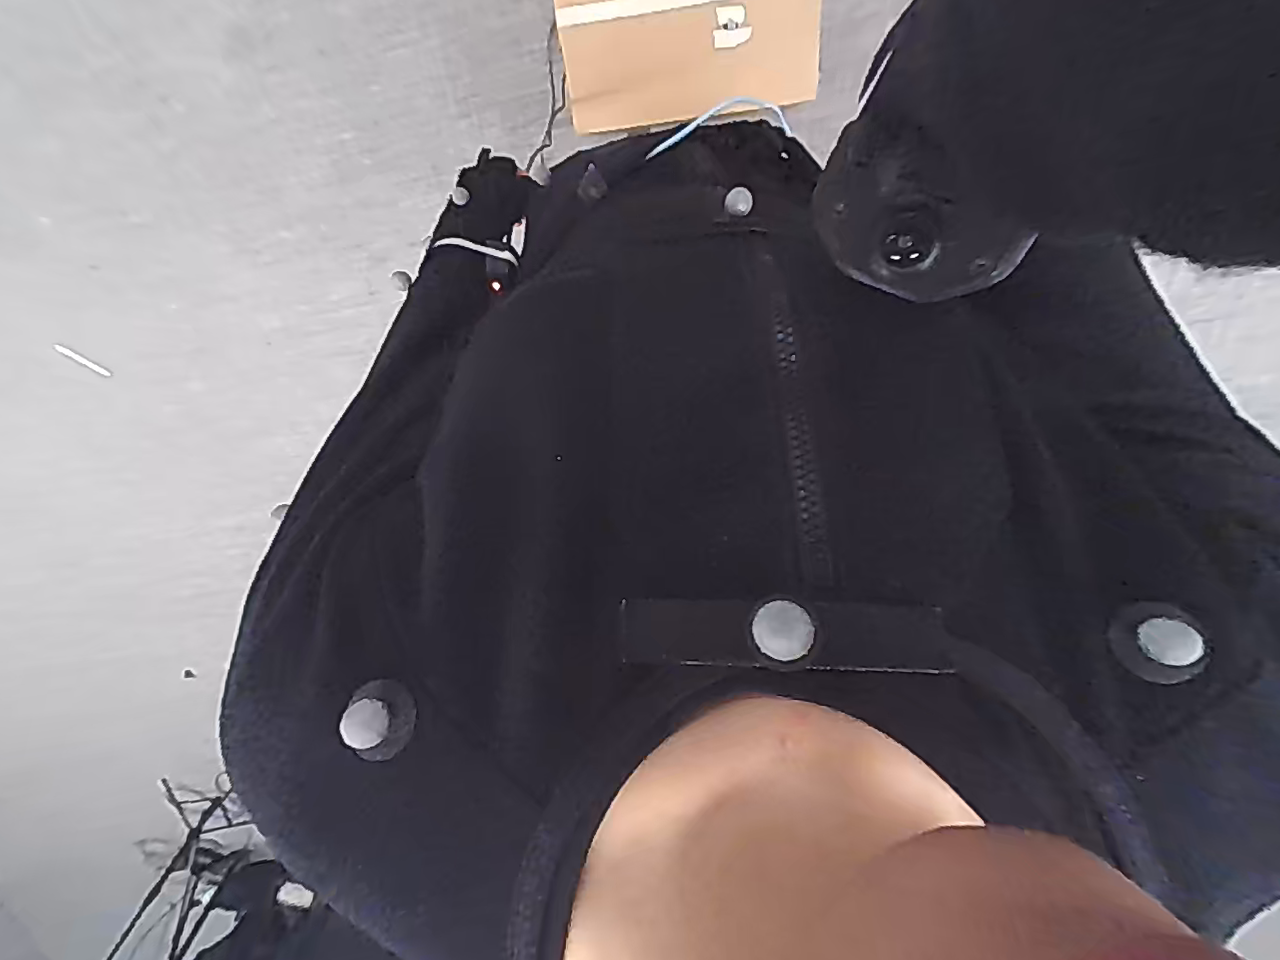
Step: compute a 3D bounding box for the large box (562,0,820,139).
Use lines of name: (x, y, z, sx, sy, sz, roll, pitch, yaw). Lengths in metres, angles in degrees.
large box: (0.080, -0.817, 0.963, 0.408, 0.320, 0.320, -5, 123, 4)
